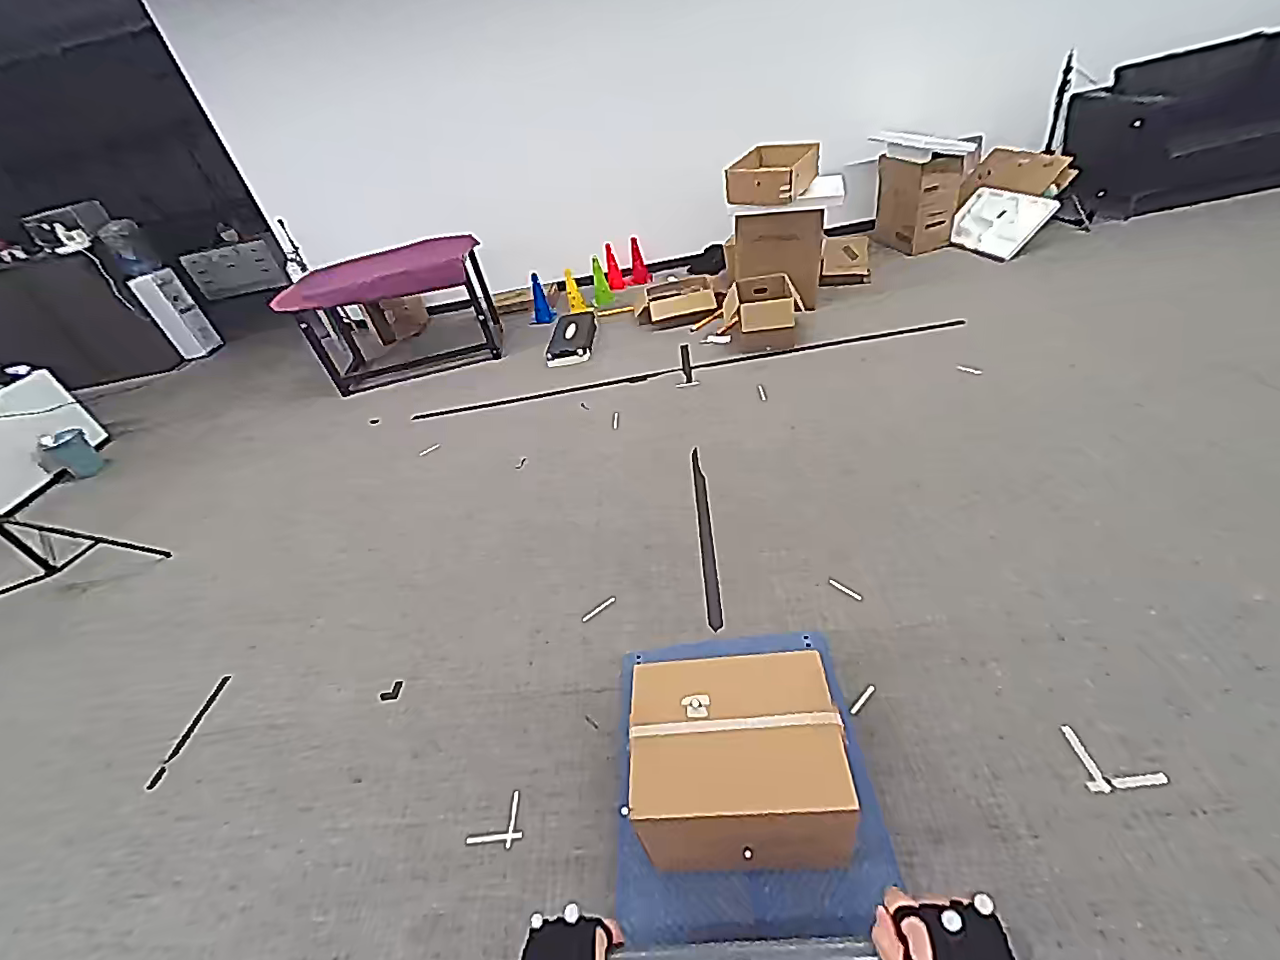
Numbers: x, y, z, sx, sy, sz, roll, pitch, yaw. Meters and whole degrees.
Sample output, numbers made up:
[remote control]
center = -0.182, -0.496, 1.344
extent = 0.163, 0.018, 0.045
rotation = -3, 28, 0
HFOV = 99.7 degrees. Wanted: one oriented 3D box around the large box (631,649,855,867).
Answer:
[large box]
center = 0.211, 0.604, 1.168
extent = 0.408, 0.320, 0.320
rotation = -8, 37, 8
